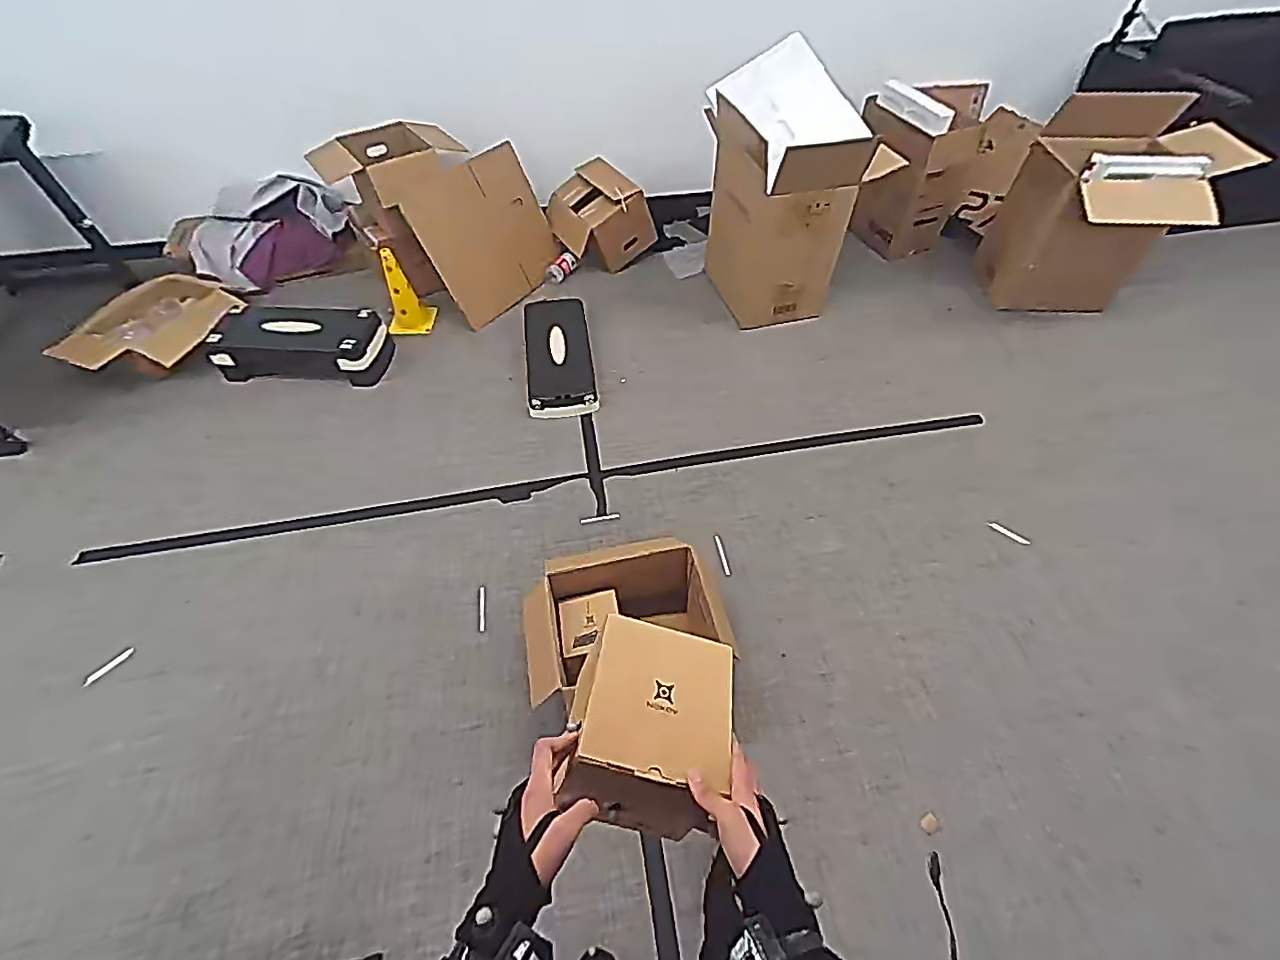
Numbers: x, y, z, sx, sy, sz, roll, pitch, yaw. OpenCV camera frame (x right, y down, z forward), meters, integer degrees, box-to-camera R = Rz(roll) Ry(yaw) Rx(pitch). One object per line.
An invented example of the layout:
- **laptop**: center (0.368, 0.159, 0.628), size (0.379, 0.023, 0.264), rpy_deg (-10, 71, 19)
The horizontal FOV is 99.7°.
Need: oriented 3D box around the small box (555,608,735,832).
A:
- **small box**: center (0.005, 0.290, 0.652), size (0.168, 0.176, 0.179), rpy_deg (17, 42, -6)
